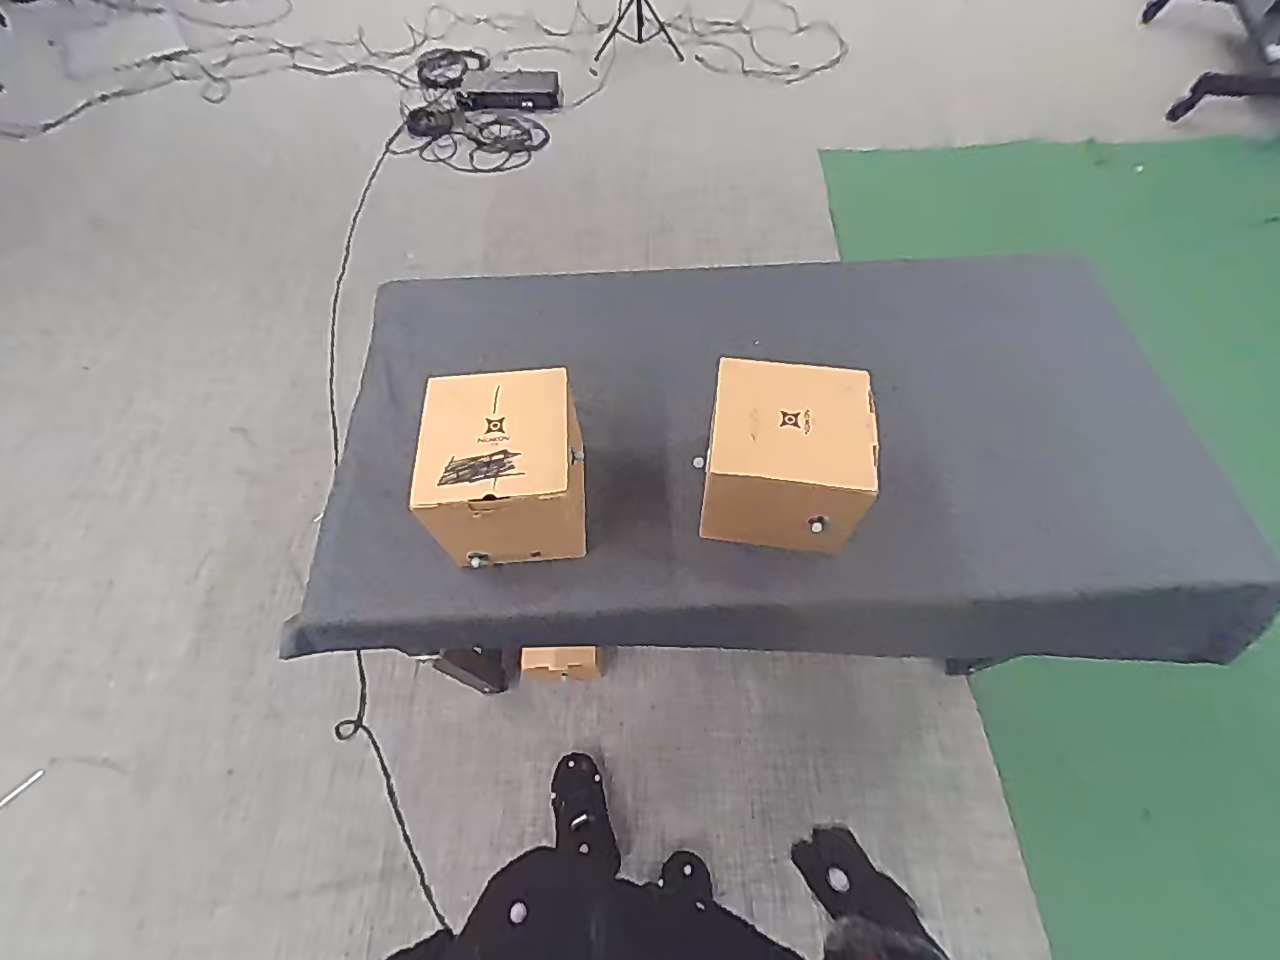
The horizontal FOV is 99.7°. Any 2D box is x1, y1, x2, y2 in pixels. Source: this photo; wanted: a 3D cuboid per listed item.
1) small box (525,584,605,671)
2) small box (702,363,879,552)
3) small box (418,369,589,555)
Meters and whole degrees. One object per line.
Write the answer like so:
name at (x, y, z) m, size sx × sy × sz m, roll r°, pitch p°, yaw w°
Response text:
small box at (-0.174, 0.361, 1.304) m, size 0.168 × 0.176 × 0.179 m, roll -2°, pitch 62°, yaw 0°
small box at (0.176, -0.022, 0.673) m, size 0.179 × 0.176 × 0.168 m, roll 6°, pitch 60°, yaw 6°
small box at (-0.154, -0.013, 0.674) m, size 0.168 × 0.176 × 0.179 m, roll -4°, pitch 59°, yaw -1°
